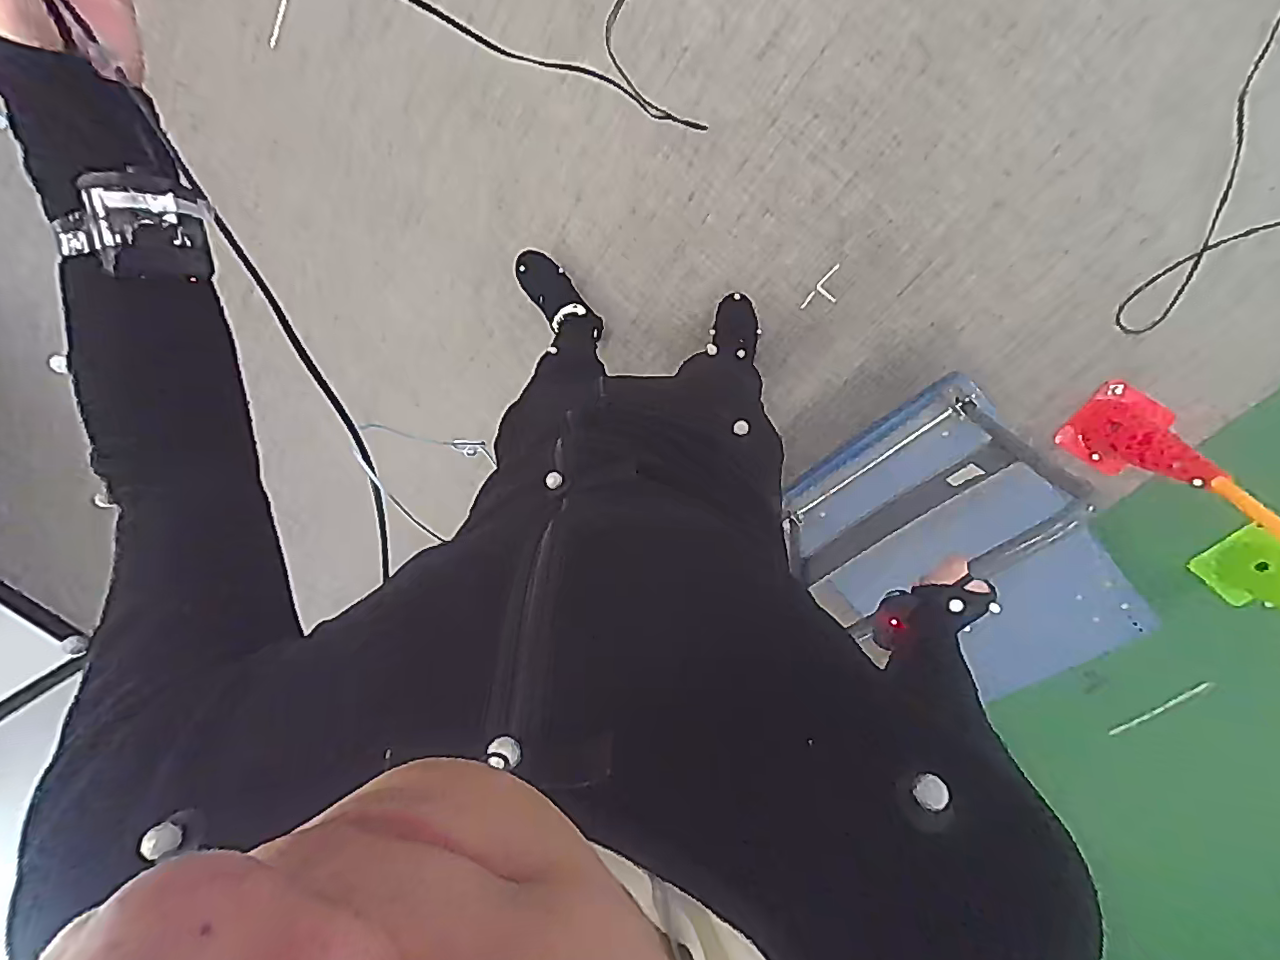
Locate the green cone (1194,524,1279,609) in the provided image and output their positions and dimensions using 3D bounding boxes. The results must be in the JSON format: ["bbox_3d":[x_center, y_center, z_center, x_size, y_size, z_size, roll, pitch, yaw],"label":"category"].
[{"bbox_3d":[1.582,0.295,1.266,0.202,0.368,0.200,37,114,-6],"label":"green cone"}]
